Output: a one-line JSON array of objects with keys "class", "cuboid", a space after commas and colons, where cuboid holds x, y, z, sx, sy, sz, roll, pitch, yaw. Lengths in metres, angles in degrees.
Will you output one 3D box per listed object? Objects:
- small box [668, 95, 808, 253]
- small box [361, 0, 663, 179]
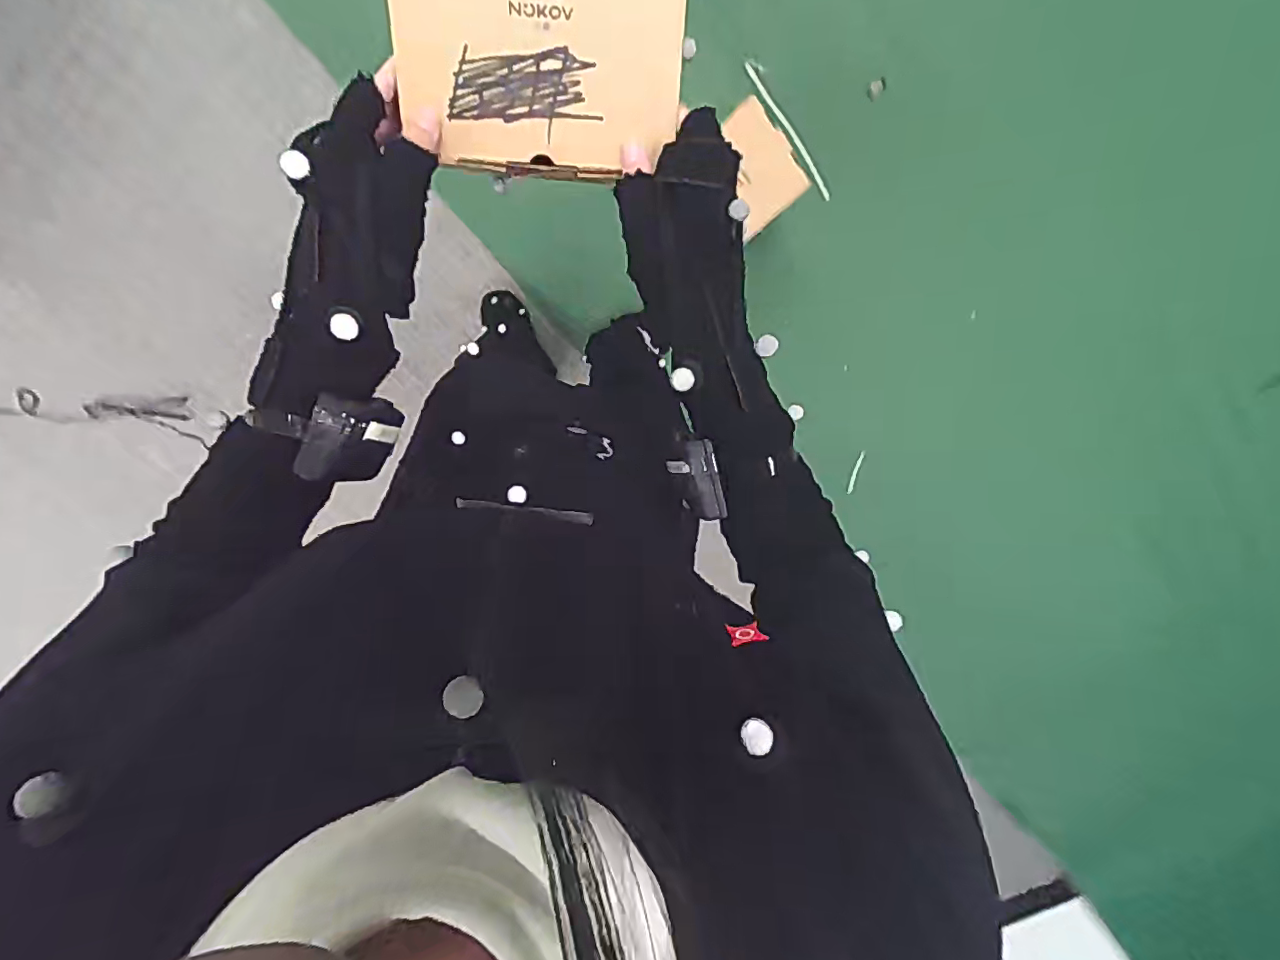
[{"class": "small box", "cuboid": [0.163, -0.533, 0.967, 0.179, 0.176, 0.168, -37, 109, 15]}, {"class": "small box", "cuboid": [-0.071, -0.305, 0.360, 0.168, 0.176, 0.179, 1, 117, -4]}]
